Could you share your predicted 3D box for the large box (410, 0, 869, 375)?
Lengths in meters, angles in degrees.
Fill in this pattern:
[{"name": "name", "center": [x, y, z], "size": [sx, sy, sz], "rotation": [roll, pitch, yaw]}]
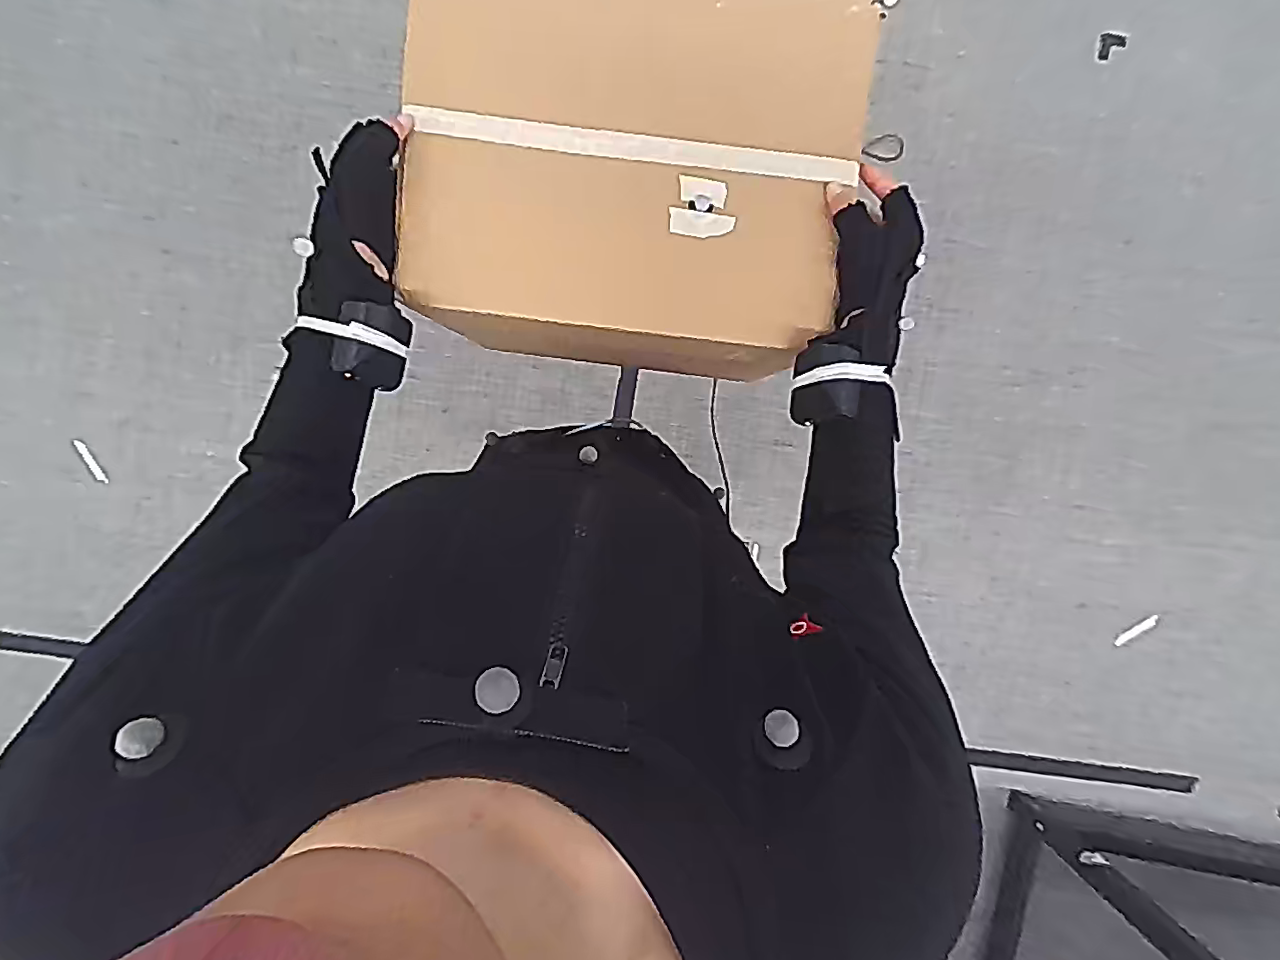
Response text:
[{"name": "large box", "center": [-0.010, -0.312, 0.643], "size": [0.408, 0.320, 0.320], "rotation": [6, 96, -2]}]
